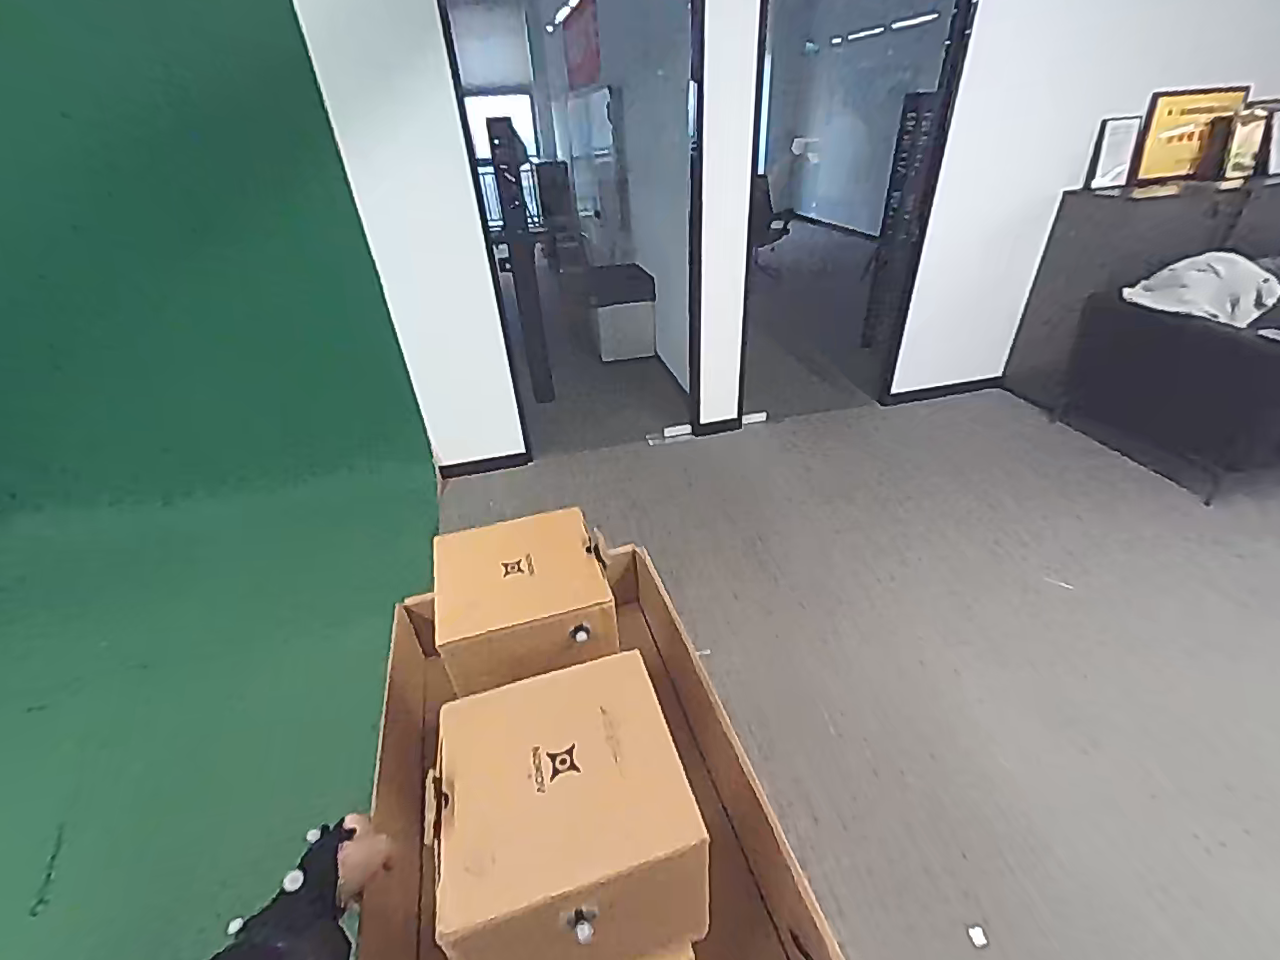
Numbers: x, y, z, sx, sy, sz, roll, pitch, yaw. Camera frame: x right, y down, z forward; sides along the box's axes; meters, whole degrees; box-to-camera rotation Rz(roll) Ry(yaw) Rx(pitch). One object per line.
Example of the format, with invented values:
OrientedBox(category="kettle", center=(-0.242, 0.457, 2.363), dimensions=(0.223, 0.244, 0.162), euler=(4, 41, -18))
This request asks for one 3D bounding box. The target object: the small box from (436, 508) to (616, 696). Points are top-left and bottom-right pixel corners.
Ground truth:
OrientedBox(category="small box", center=(-0.130, 0.161, 0.640), dimensions=(0.179, 0.176, 0.168), euler=(-12, 36, -14))

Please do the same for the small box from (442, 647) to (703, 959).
OrientedBox(category="small box", center=(-0.055, 0.278, 0.453), dimensions=(0.179, 0.176, 0.168), euler=(-12, 34, -13))
